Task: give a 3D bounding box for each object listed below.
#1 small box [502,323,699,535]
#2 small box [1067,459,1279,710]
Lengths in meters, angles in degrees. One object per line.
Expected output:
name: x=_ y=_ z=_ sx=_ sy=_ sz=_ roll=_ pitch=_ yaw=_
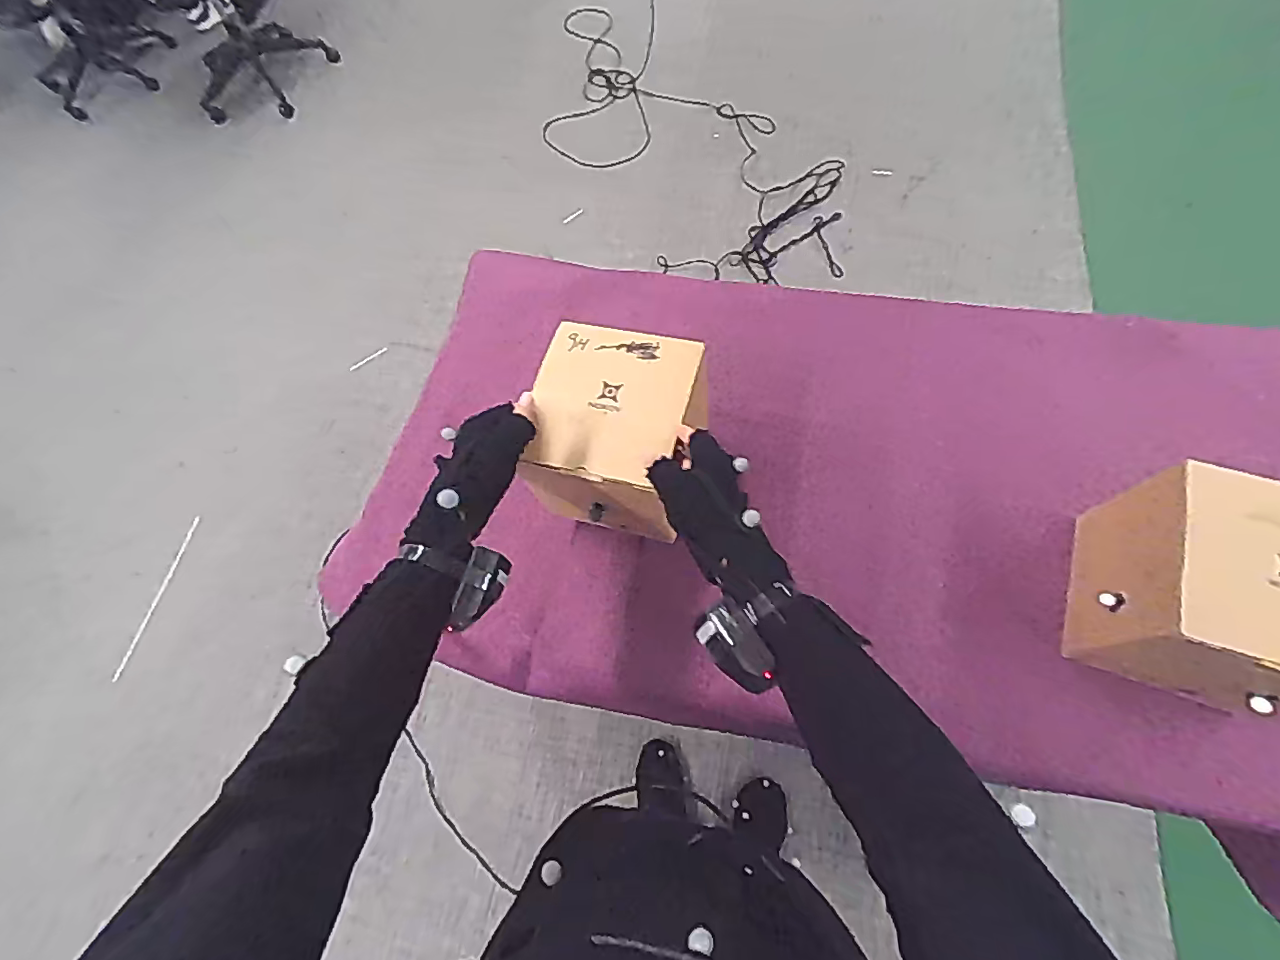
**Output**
small box: x=-0.029 y=-0.050 z=0.628 sx=0.168 sy=0.176 sz=0.179 roll=12 pitch=69 yaw=13
small box: x=0.562 y=0.110 z=0.530 sx=0.168 sy=0.176 sz=0.179 roll=19 pitch=70 yaw=14
